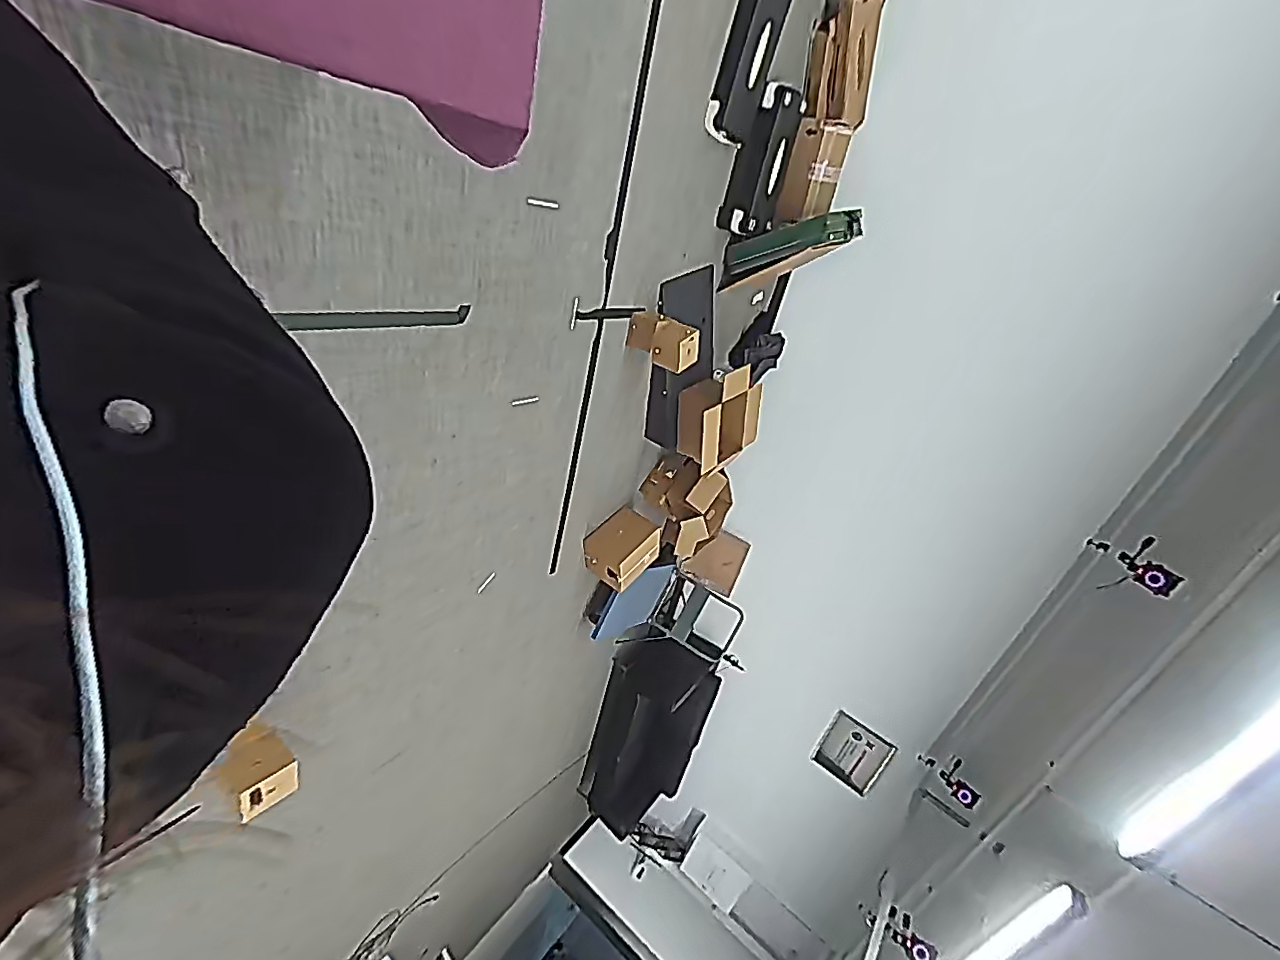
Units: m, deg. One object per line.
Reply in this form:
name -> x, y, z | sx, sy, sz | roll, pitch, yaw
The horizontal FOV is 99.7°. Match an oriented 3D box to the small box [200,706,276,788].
small box -> -1.433, 0.939, 1.926 | 0.168, 0.176, 0.179 | -24, 137, -51
